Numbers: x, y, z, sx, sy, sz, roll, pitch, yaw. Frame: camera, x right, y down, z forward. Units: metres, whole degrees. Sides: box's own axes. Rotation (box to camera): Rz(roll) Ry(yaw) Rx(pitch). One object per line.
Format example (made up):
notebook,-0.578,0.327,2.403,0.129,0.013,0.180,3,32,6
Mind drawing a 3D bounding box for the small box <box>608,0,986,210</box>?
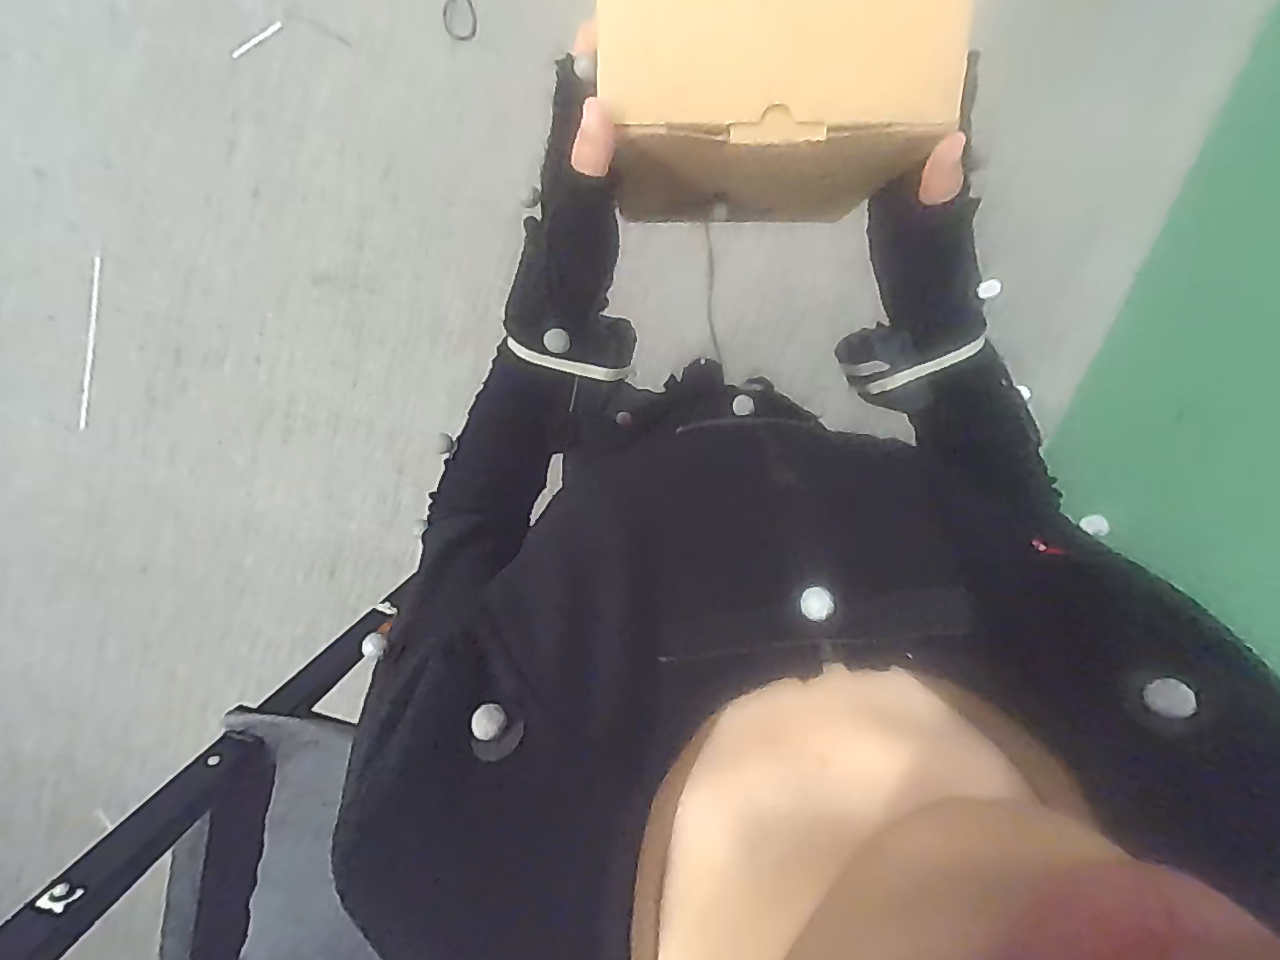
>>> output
small box,0.069,-0.267,0.303,0.168,0.176,0.179,0,104,2
